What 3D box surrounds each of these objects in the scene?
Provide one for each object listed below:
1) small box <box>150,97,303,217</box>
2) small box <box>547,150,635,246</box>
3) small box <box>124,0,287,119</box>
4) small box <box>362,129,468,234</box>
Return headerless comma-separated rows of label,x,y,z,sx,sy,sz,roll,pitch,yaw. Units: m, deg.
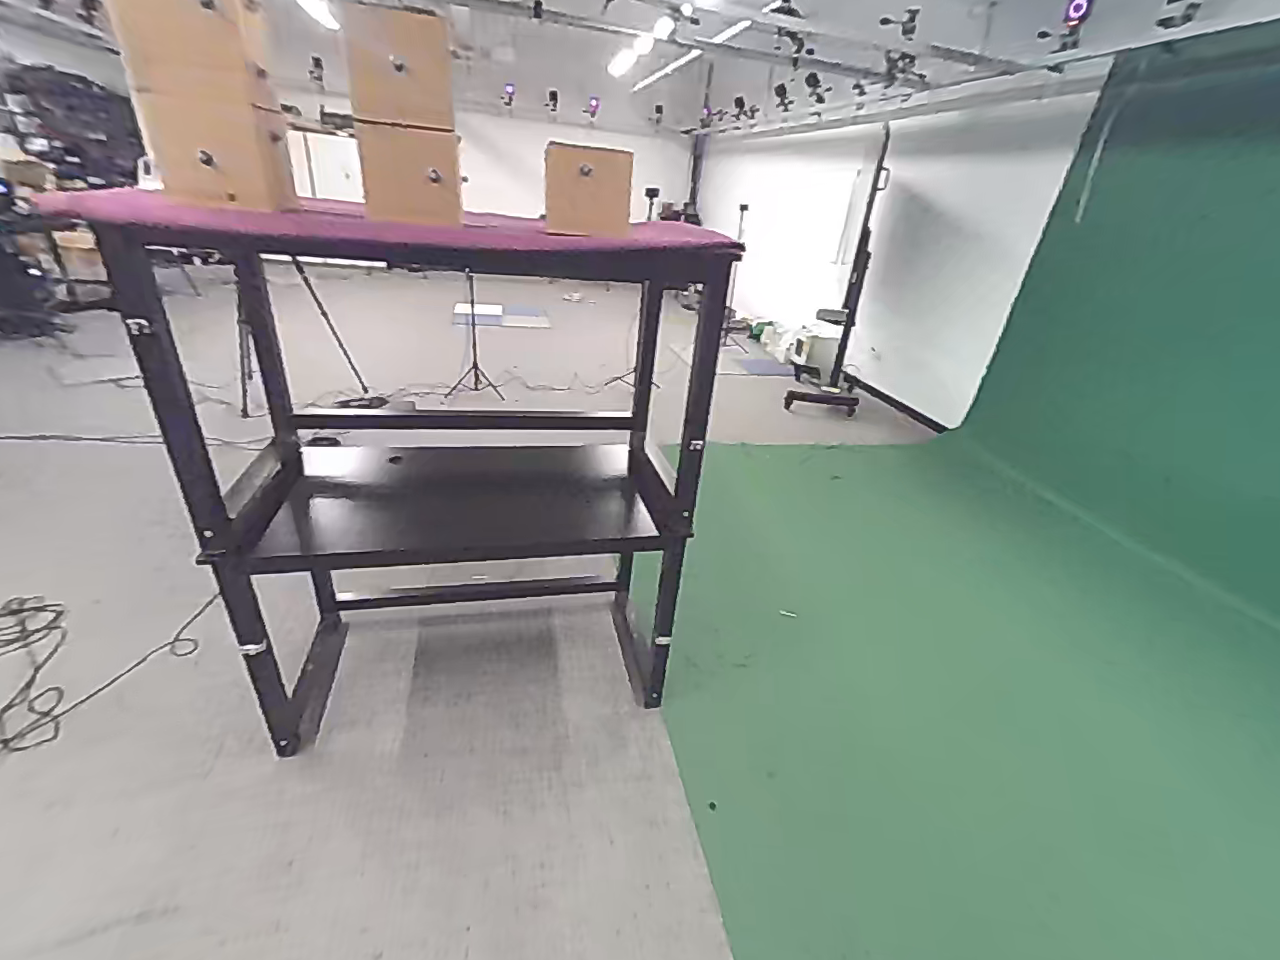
small box,-0.755,-0.595,1.013,0.168,0.176,0.179,0,28,-16
small box,-0.115,-0.622,1.209,0.179,0.176,0.168,0,26,-13
small box,-0.743,-0.738,0.936,0.179,0.176,0.168,-2,29,-18
small box,-0.447,-0.602,1.103,0.179,0.176,0.168,-3,28,-15
